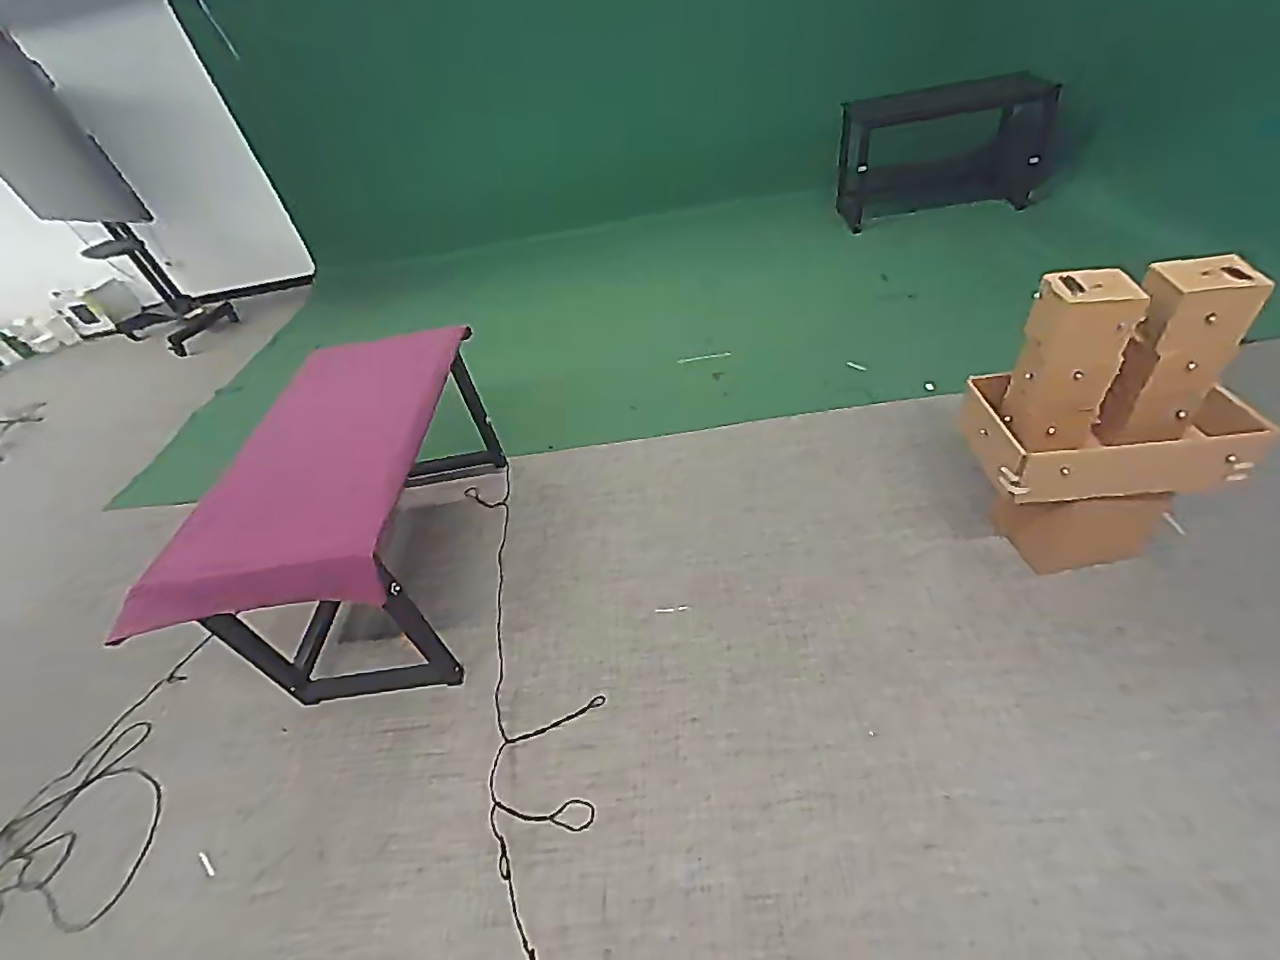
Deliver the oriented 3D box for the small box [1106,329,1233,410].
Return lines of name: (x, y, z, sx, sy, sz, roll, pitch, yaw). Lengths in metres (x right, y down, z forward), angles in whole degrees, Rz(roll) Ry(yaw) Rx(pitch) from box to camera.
small box: (1.429, -0.312, 1.484, 0.179, 0.176, 0.168, -8, 42, 8)

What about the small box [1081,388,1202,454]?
small box: (1.461, -0.195, 1.590, 0.179, 0.176, 0.168, -7, 41, 7)

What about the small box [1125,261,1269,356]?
small box: (1.402, -0.434, 1.378, 0.179, 0.176, 0.168, -3, 43, 15)

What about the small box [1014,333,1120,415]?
small box: (1.184, -0.295, 1.522, 0.179, 0.176, 0.168, 2, 44, 14)
